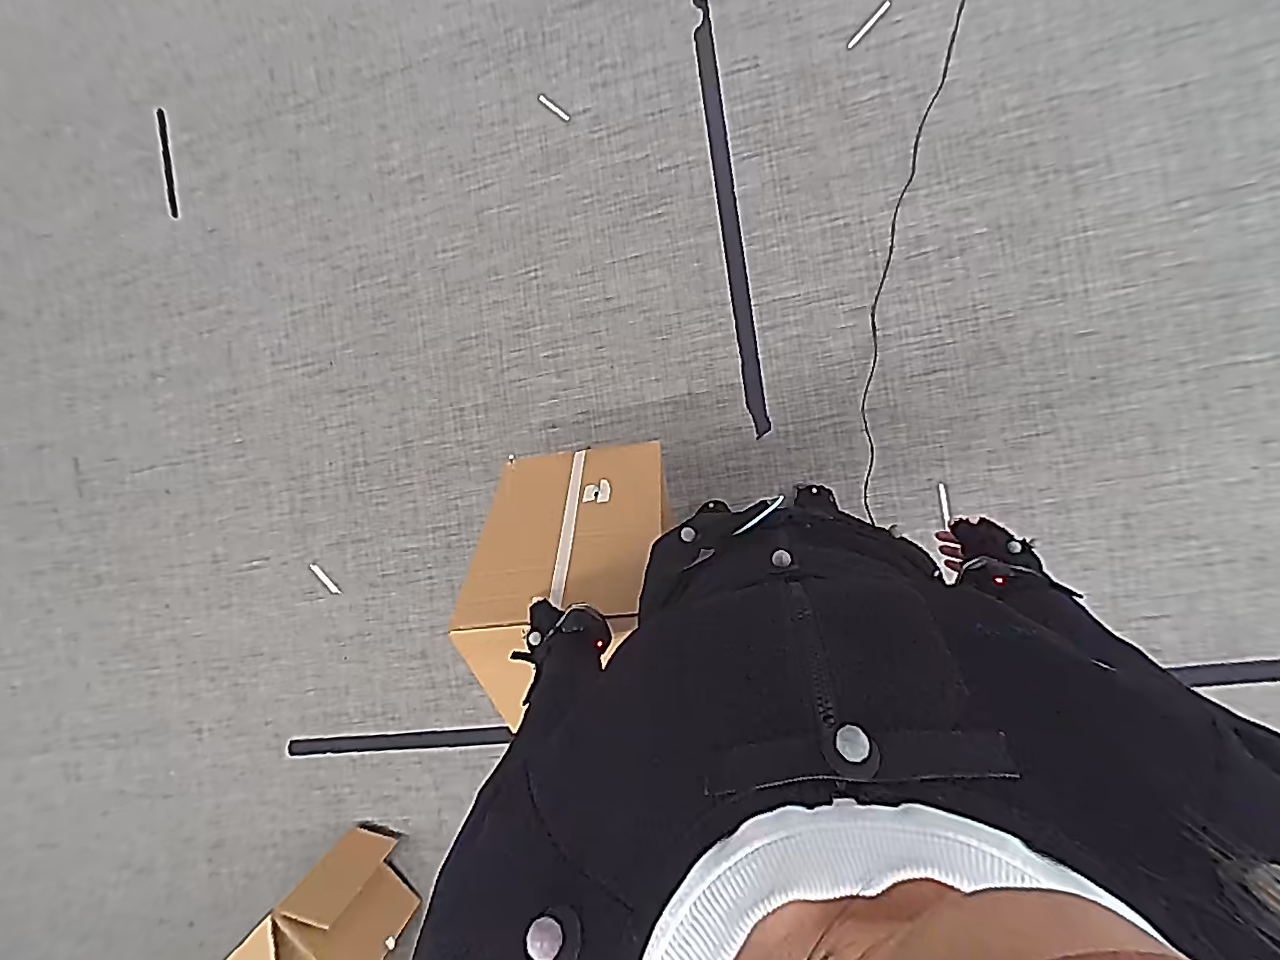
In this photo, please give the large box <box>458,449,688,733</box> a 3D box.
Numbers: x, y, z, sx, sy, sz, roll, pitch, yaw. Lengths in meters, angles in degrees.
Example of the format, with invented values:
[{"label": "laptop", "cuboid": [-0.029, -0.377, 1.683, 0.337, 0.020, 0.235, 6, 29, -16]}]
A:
[{"label": "large box", "cuboid": [-0.091, 0.196, 1.008, 0.320, 0.408, 0.320, -6, 128, 6]}]
